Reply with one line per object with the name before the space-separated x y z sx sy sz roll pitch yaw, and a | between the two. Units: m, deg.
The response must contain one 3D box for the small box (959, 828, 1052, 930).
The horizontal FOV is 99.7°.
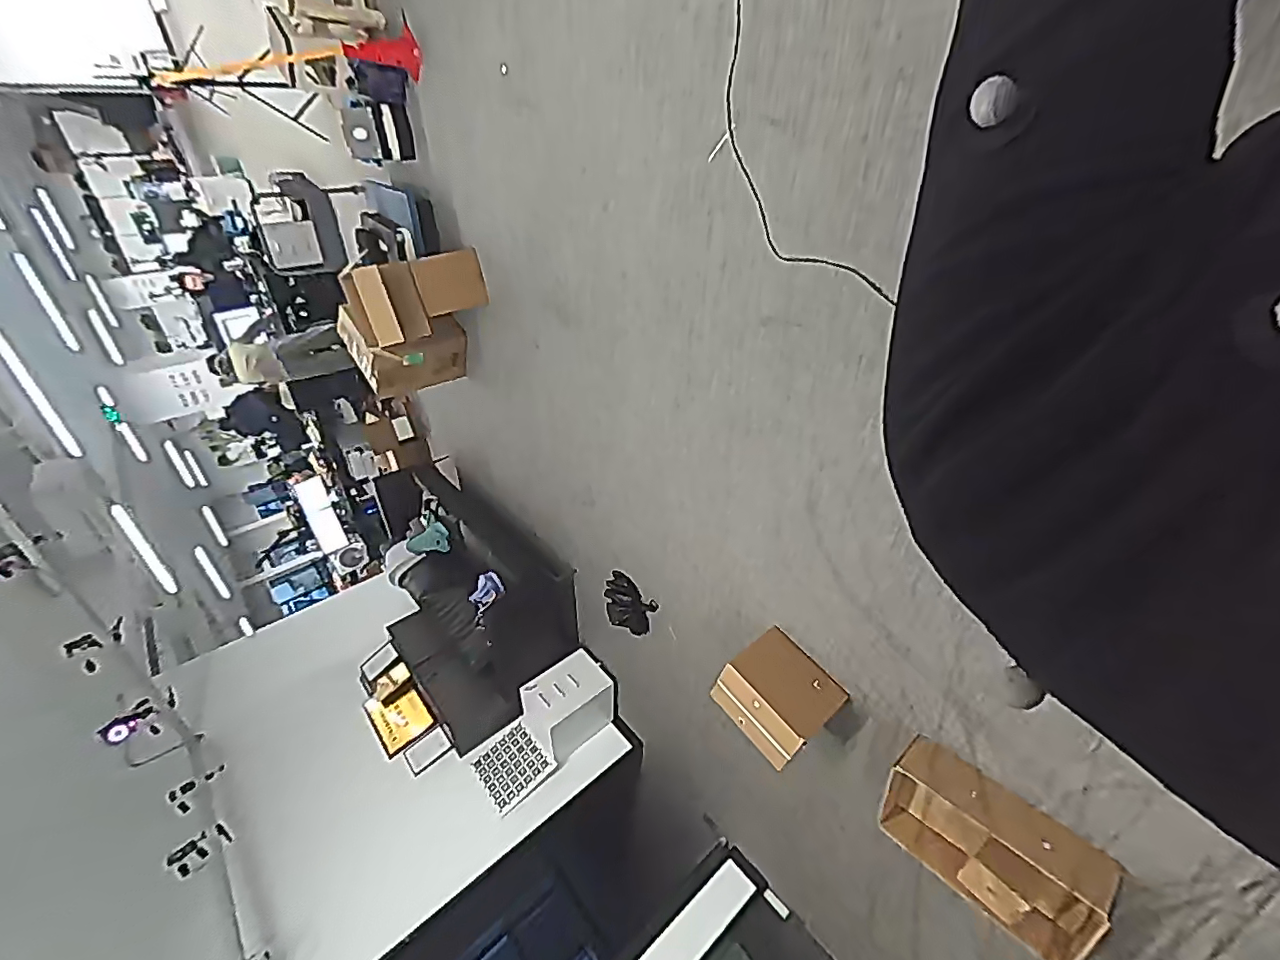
small box | 1.183 1.285 1.748 0.179 0.176 0.168 36 137 40
